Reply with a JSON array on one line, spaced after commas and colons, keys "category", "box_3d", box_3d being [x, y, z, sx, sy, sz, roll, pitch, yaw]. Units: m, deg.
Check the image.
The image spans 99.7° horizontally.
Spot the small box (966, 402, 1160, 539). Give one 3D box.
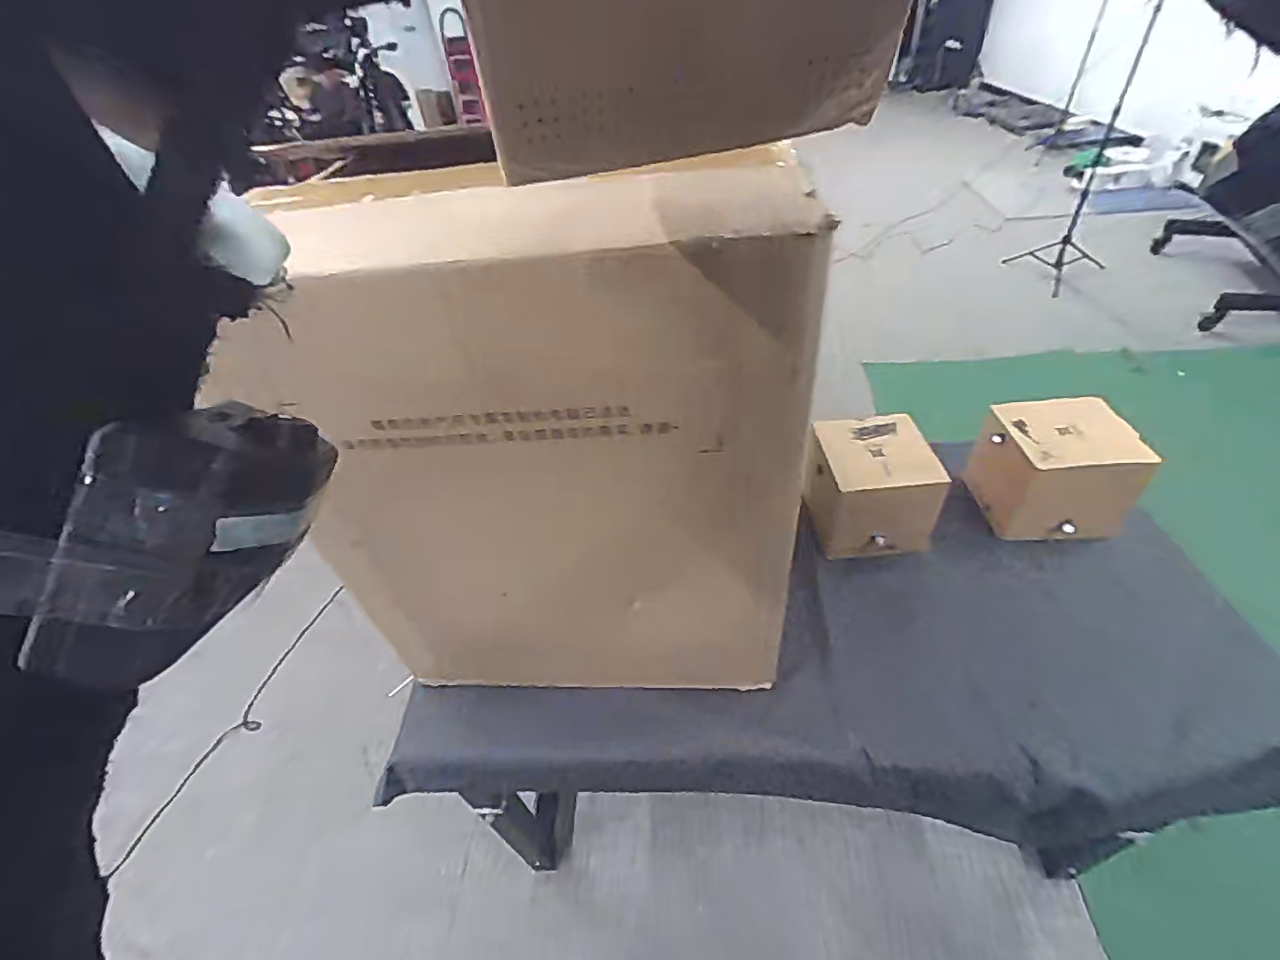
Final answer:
[{"category": "small box", "box_3d": [0.693, -0.014, 0.914, 0.179, 0.176, 0.168, -3, 42, 6]}]
